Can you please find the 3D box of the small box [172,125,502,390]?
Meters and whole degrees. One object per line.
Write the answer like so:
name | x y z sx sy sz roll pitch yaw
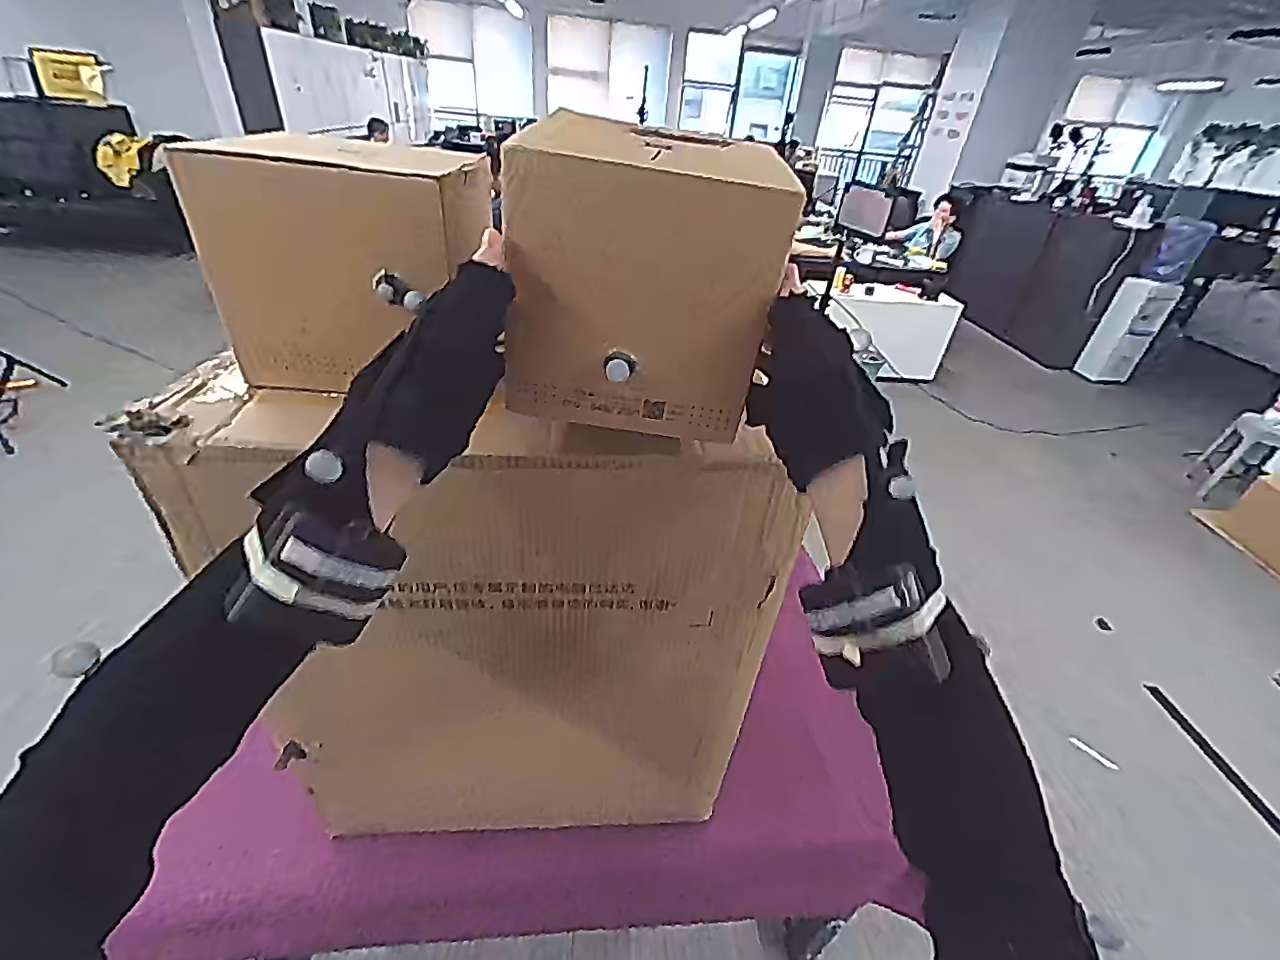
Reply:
small box | -0.218 -0.187 0.455 0.179 0.176 0.168 3 34 -5

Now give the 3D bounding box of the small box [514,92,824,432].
small box | 0.009 -0.159 0.390 0.168 0.176 0.179 8 39 -2
